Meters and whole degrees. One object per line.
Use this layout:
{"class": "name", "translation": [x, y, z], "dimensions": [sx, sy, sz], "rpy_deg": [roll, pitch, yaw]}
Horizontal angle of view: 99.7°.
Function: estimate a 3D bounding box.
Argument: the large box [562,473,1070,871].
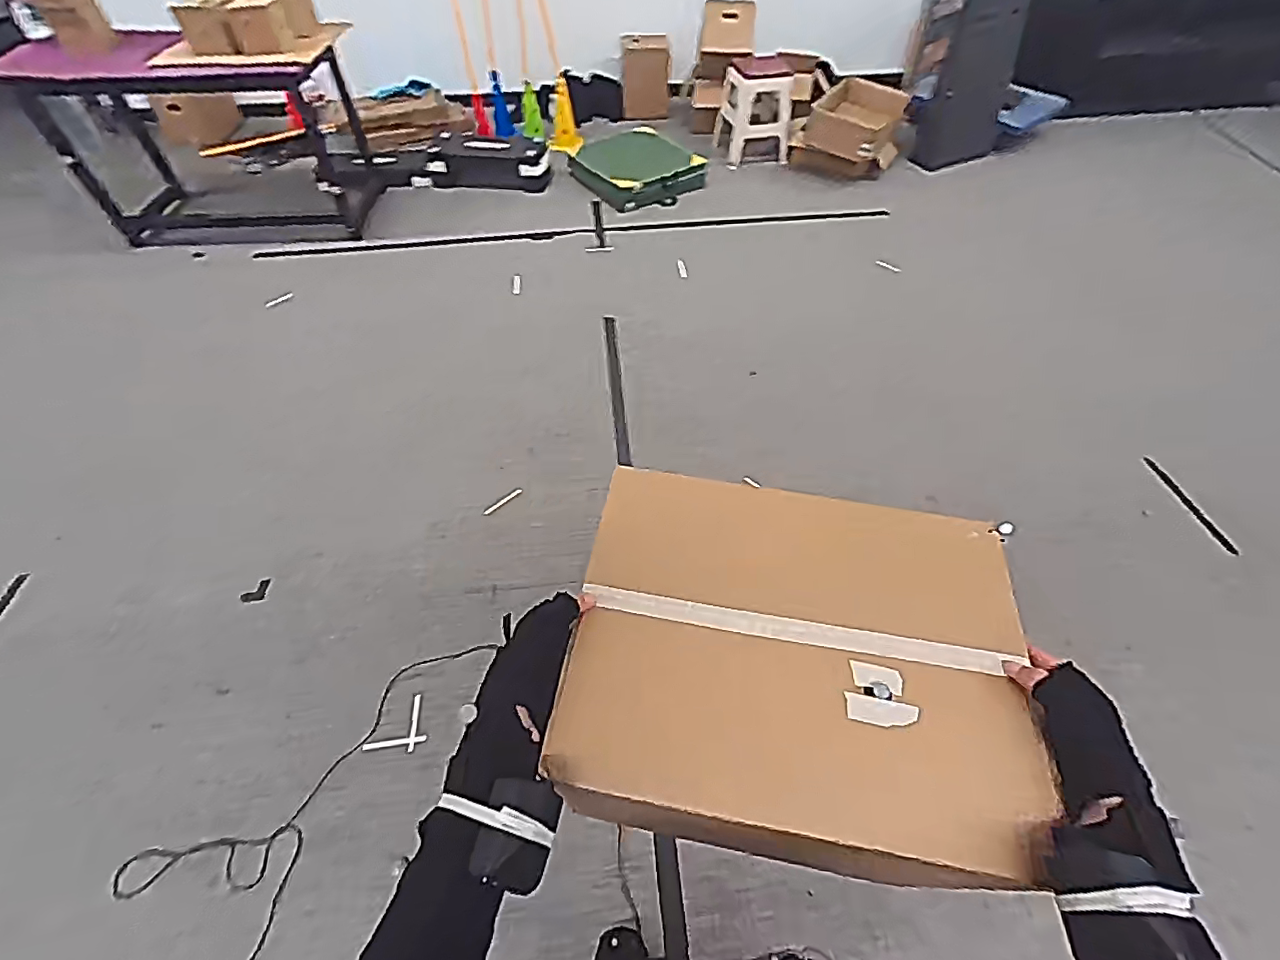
{"class": "large box", "translation": [0.150, 0.228, 0.626], "dimensions": [0.408, 0.320, 0.320], "rpy_deg": [9, 55, 5]}
